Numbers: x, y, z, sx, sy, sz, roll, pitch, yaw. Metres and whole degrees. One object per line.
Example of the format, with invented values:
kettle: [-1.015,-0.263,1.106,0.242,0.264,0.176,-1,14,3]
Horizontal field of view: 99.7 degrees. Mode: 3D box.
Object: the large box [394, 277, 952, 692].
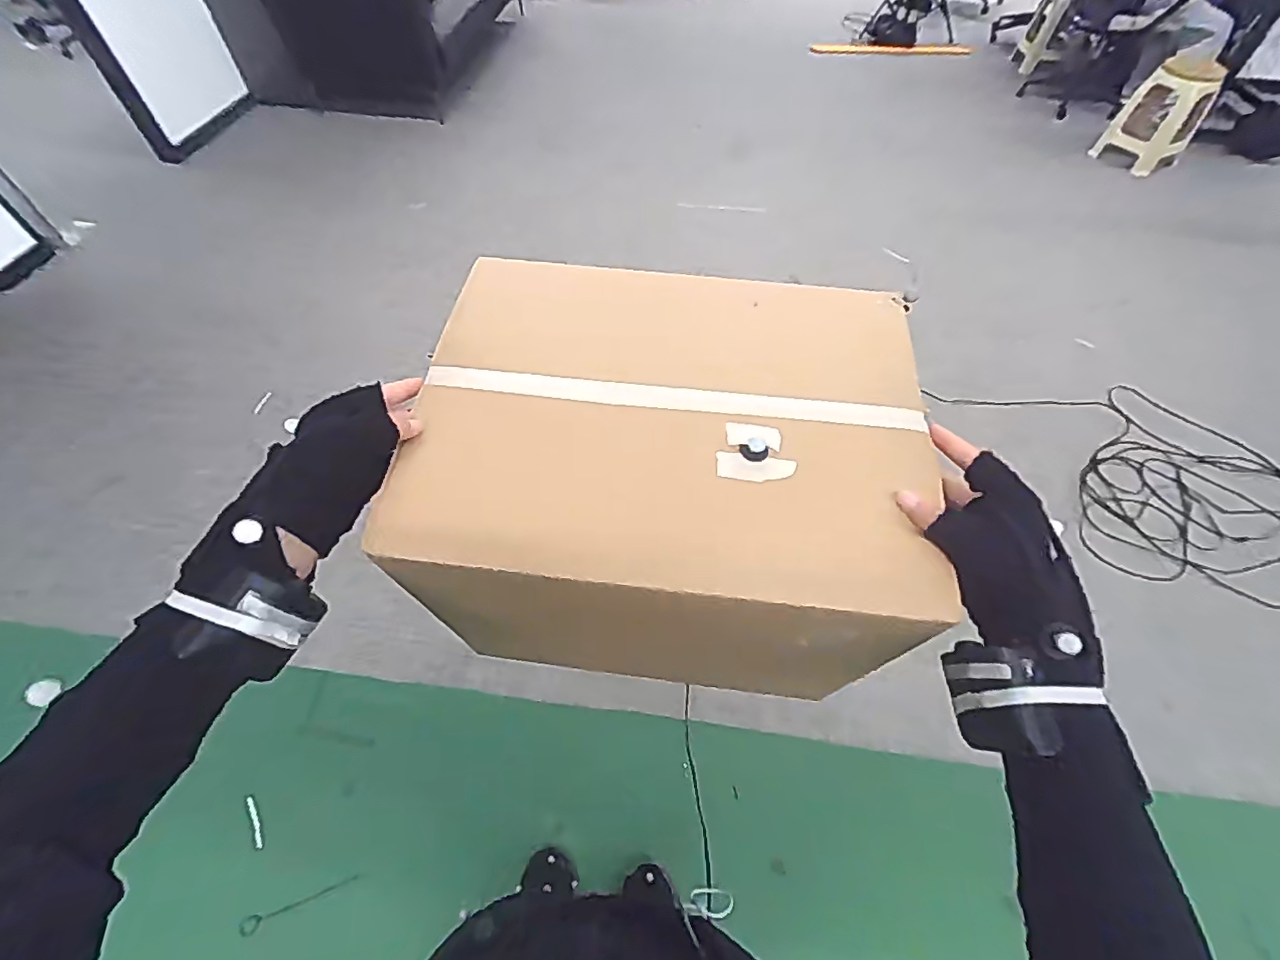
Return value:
large box: [0.030,0.022,0.581,0.408,0.320,0.320,6,60,2]
